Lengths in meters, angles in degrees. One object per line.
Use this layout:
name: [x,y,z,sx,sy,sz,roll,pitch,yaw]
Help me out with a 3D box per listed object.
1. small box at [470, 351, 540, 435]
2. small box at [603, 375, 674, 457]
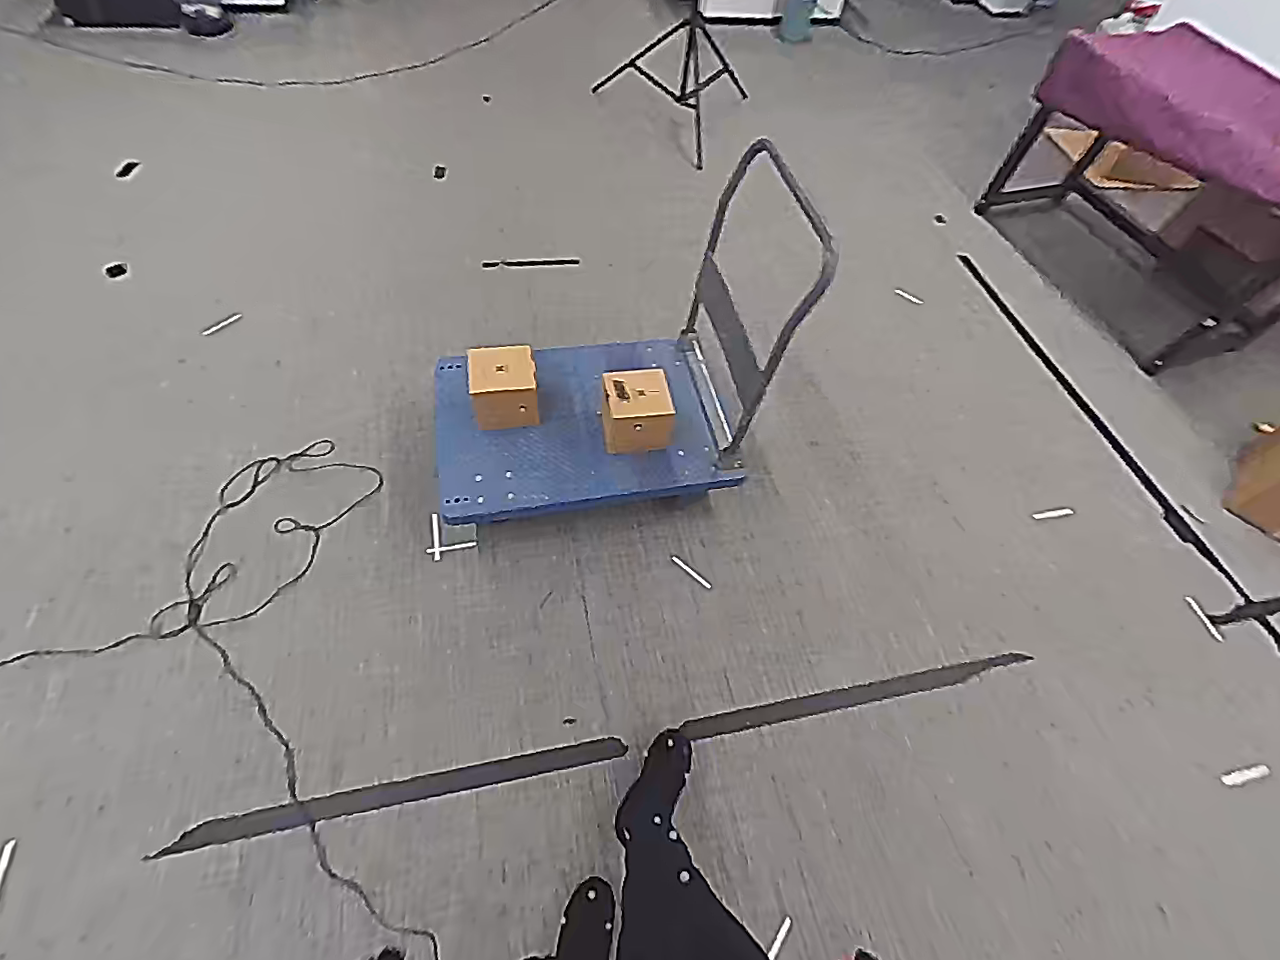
small box: [-0.384,-0.247,1.556,0.179,0.176,0.168,-7,58,-11]
small box: [-0.011,-0.179,1.555,0.179,0.176,0.168,-5,58,-10]
